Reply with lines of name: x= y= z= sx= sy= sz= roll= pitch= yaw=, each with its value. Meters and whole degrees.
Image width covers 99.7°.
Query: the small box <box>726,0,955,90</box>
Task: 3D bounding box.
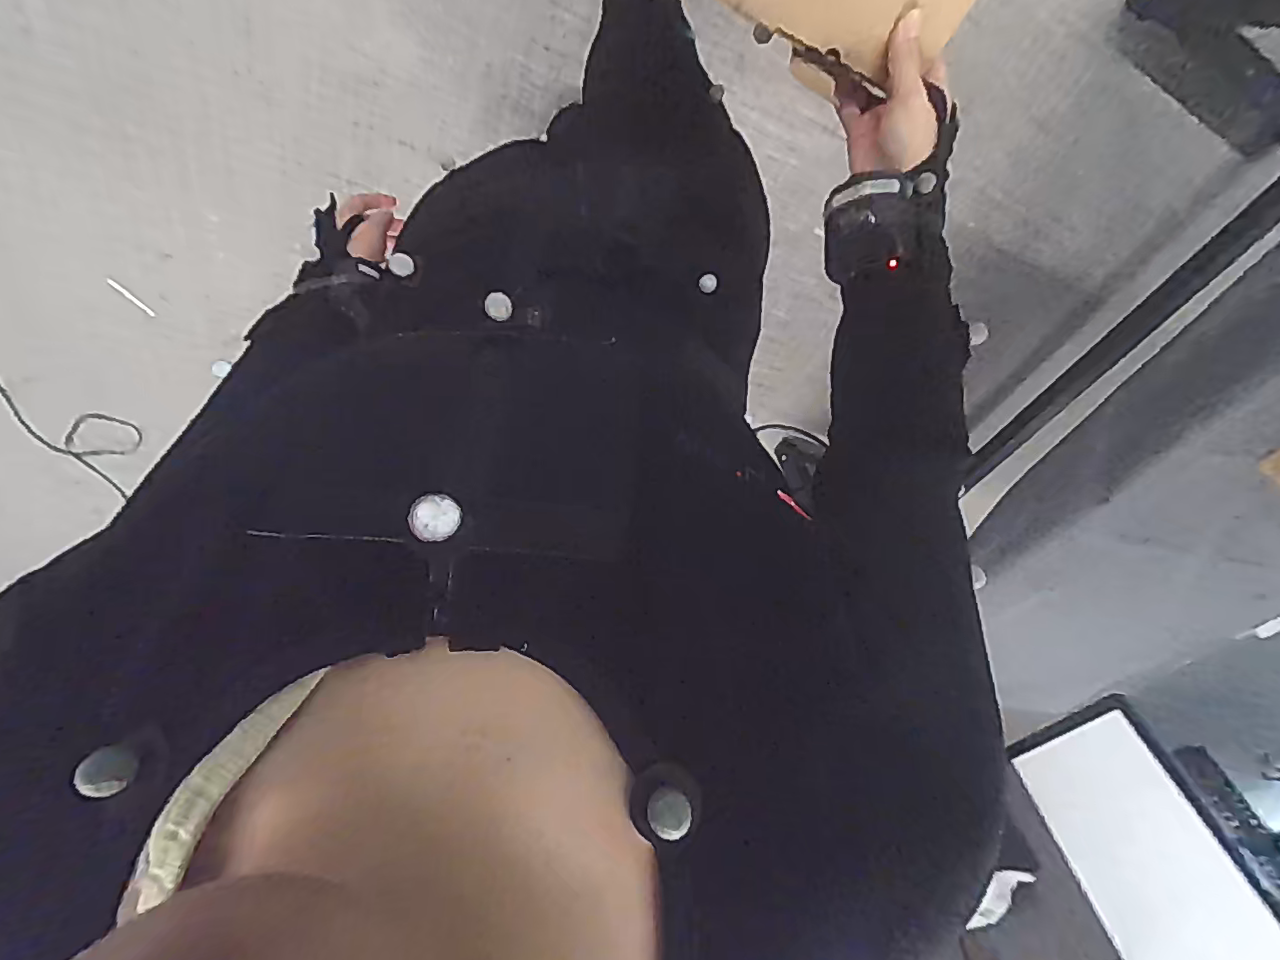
small box: x=0.131 y=-0.410 z=0.352 sx=0.168 sy=0.176 sz=0.179 roll=-1 pitch=143 yaw=-30
